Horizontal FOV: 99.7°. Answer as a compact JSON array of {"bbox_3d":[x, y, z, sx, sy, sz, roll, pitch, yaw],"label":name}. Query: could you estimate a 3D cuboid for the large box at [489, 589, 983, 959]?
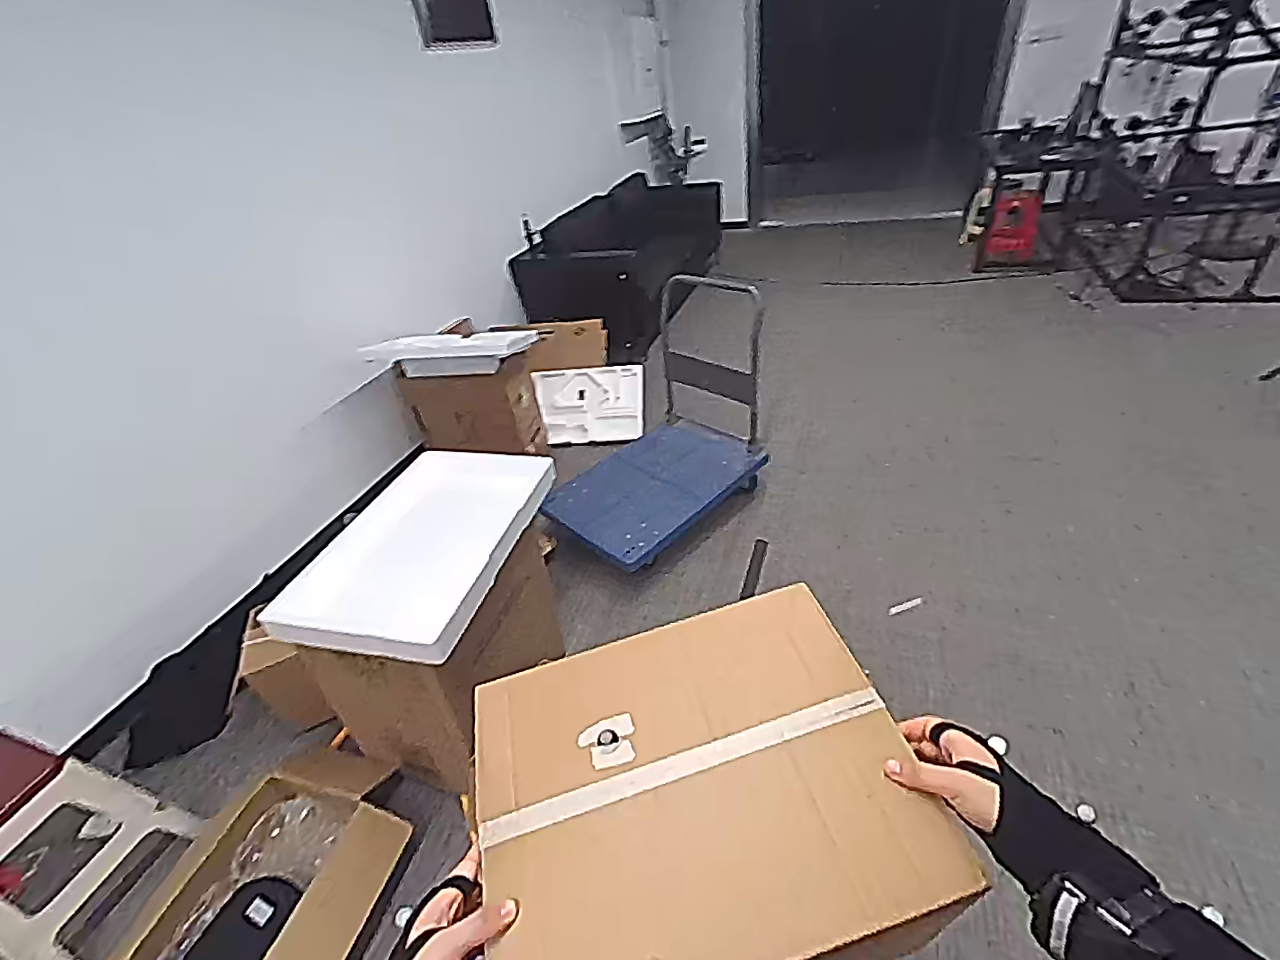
[{"bbox_3d":[0.080,0.391,0.624,0.408,0.320,0.320,-18,40,-4],"label":"large box"}]
